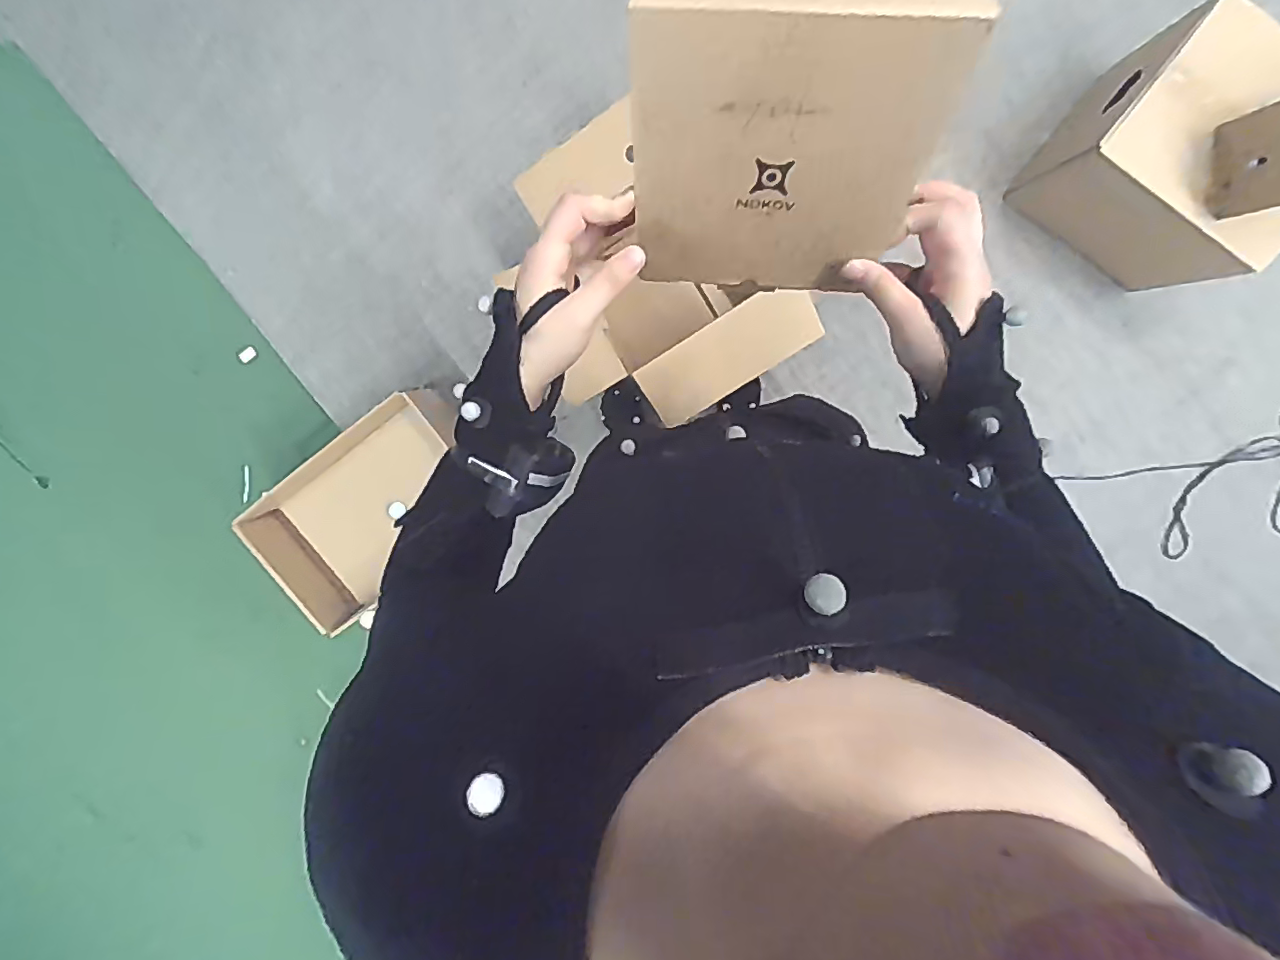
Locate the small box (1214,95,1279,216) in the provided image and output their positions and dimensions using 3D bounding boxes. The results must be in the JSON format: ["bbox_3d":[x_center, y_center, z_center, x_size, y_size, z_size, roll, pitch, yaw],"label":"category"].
[{"bbox_3d":[1.131,-0.570,0.912,0.179,0.176,0.168,-14,101,9],"label":"small box"}]

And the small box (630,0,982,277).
[{"bbox_3d":[0.087,-0.264,0.354,0.168,0.179,0.176,5,67,4],"label":"small box"}]
